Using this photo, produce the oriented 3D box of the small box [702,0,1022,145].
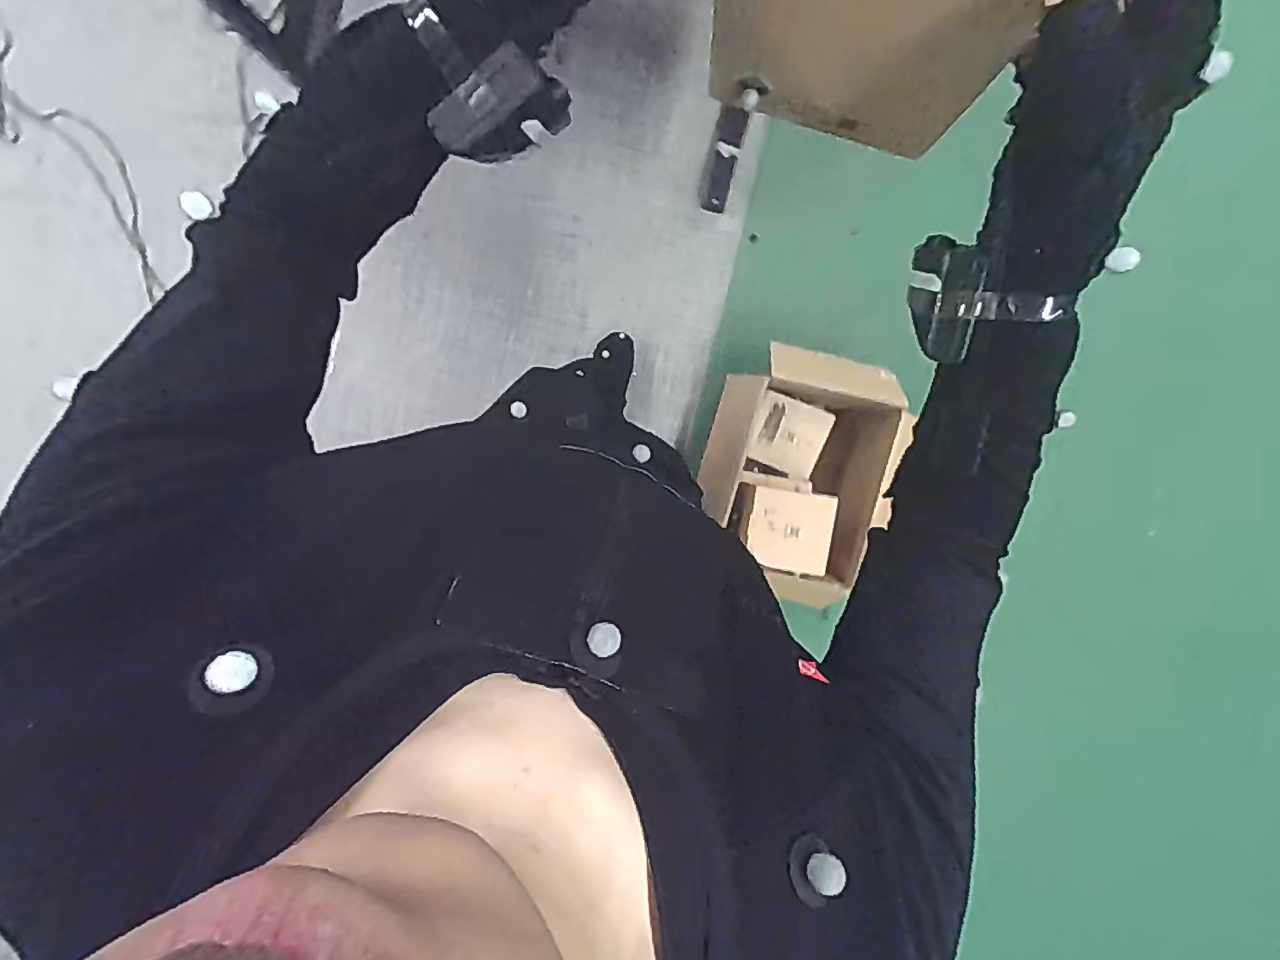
[{"bbox_3d":[0.138,-0.334,0.311,0.168,0.176,0.179,17,98,2],"label":"small box"}]
